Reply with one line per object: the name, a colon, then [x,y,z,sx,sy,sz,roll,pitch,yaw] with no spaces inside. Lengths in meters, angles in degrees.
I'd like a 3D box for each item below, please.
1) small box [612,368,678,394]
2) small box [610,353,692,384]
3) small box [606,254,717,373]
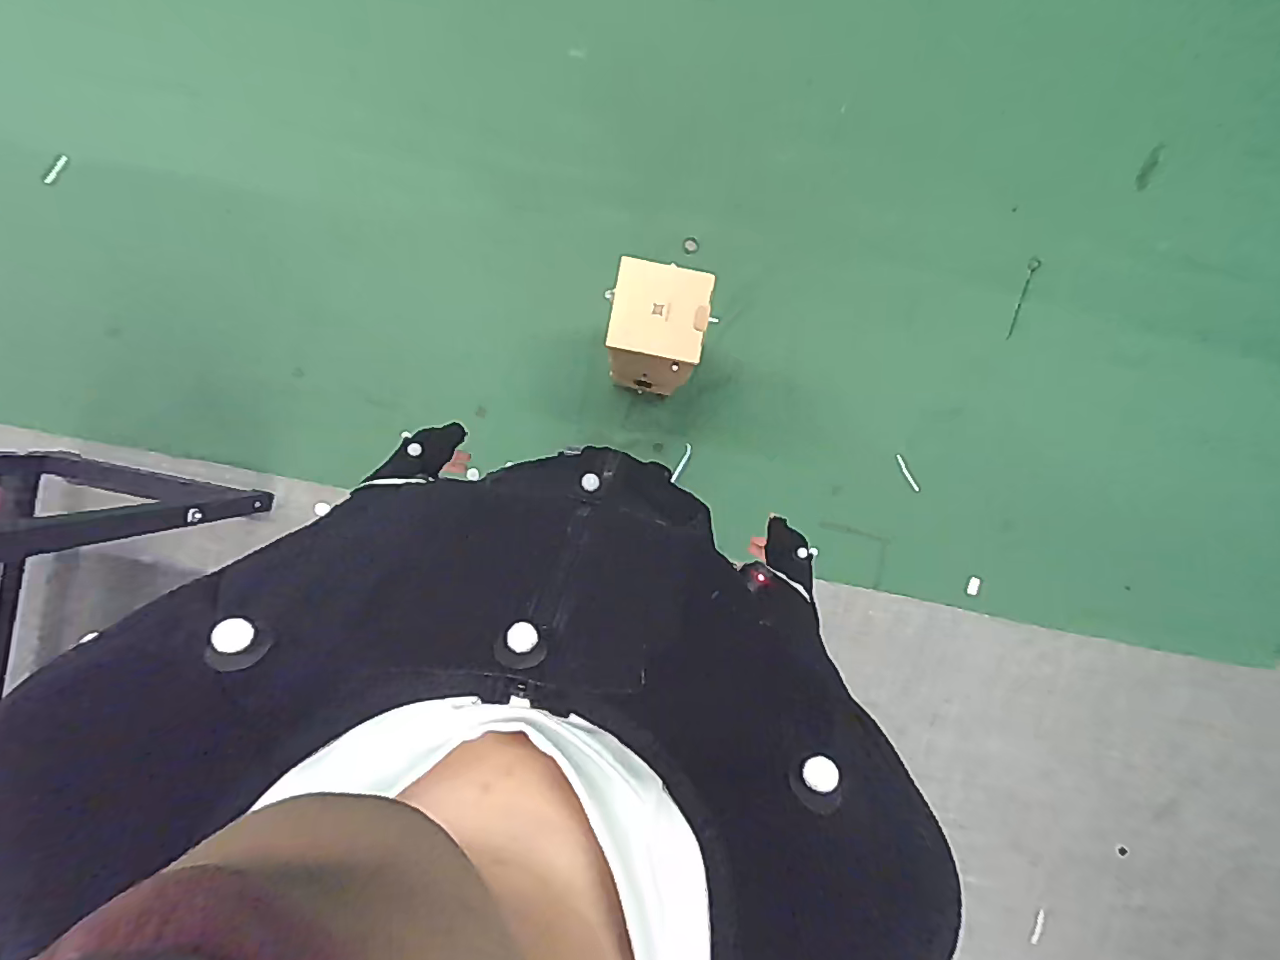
small box: [0.027,-0.328,1.378,0.168,0.176,0.179,12,93,-1]
small box: [0.037,-0.321,1.212,0.179,0.176,0.168,14,91,-2]
small box: [0.037,-0.313,1.052,0.179,0.176,0.168,11,93,-3]
